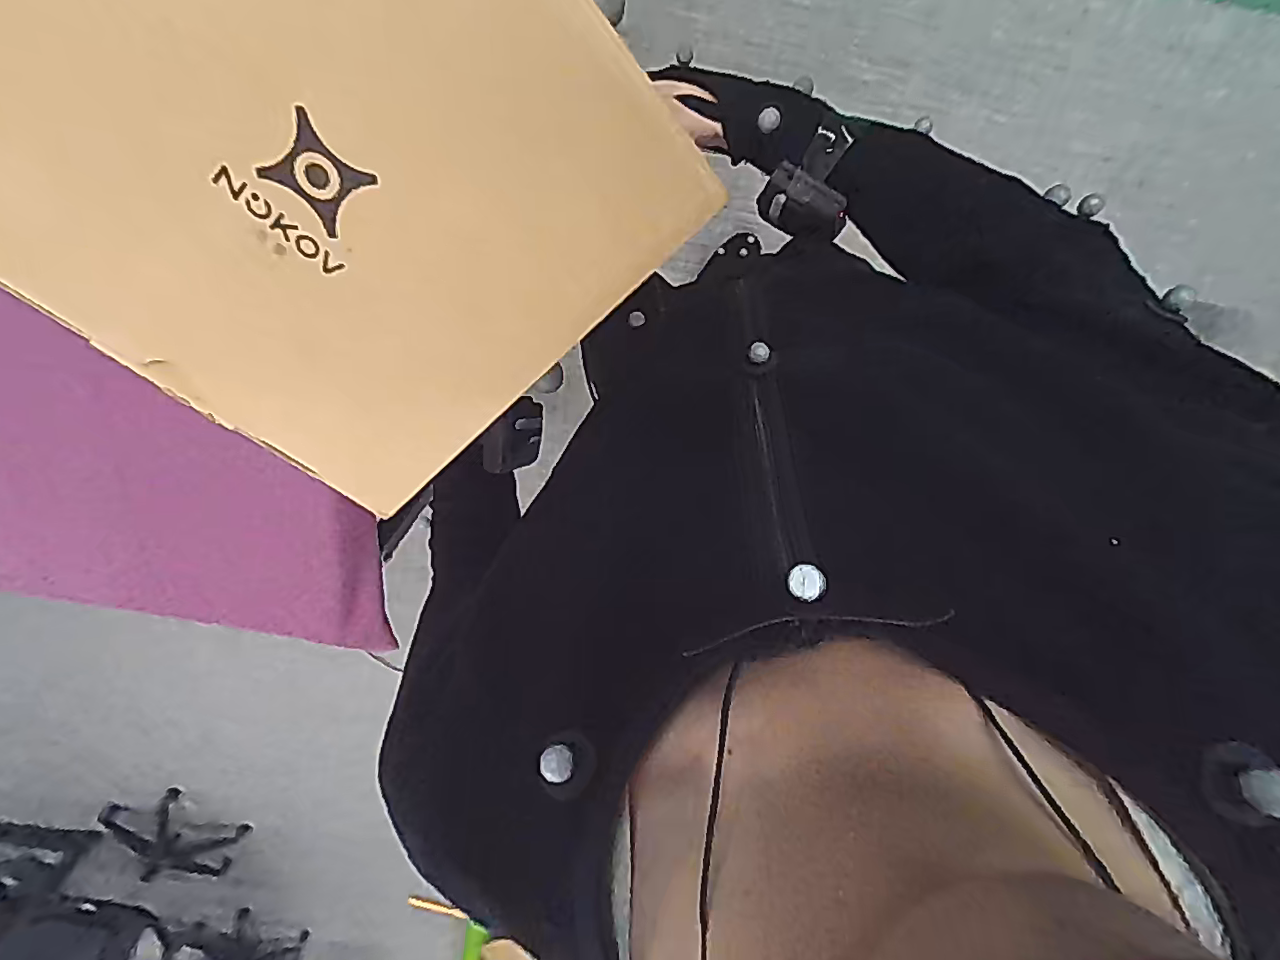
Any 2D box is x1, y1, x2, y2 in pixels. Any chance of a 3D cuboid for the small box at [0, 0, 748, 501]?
[{"bbox_3d":[-0.088,-0.132,0.218,0.179,0.176,0.168,-36,121,20],"label":"small box"}]
